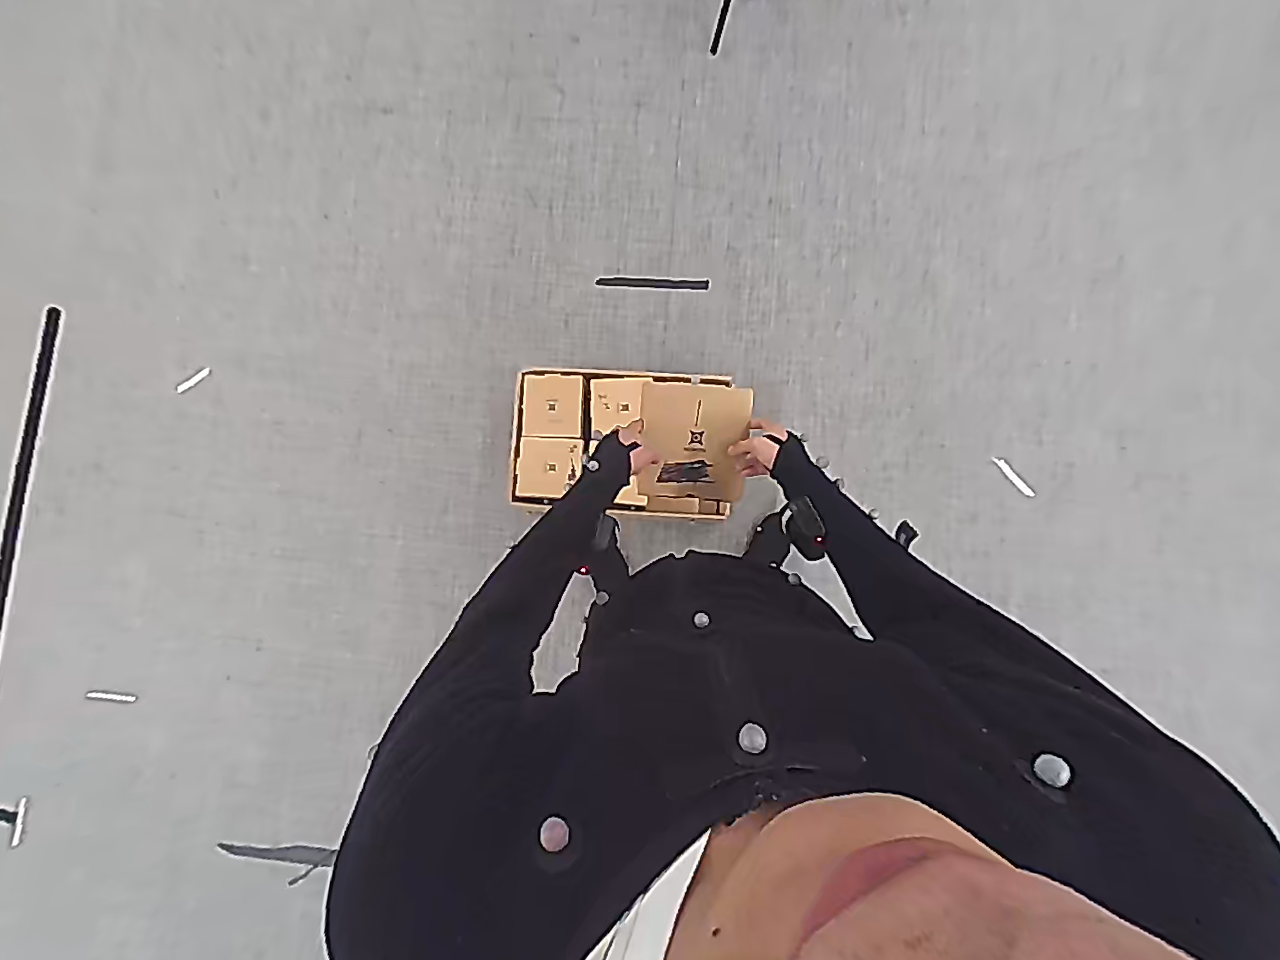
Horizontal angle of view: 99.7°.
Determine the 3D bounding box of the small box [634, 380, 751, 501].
[{"bbox_3d":[0.079,-0.073,0.901,0.168,0.176,0.179,4,99,-2],"label":"small box"}]
